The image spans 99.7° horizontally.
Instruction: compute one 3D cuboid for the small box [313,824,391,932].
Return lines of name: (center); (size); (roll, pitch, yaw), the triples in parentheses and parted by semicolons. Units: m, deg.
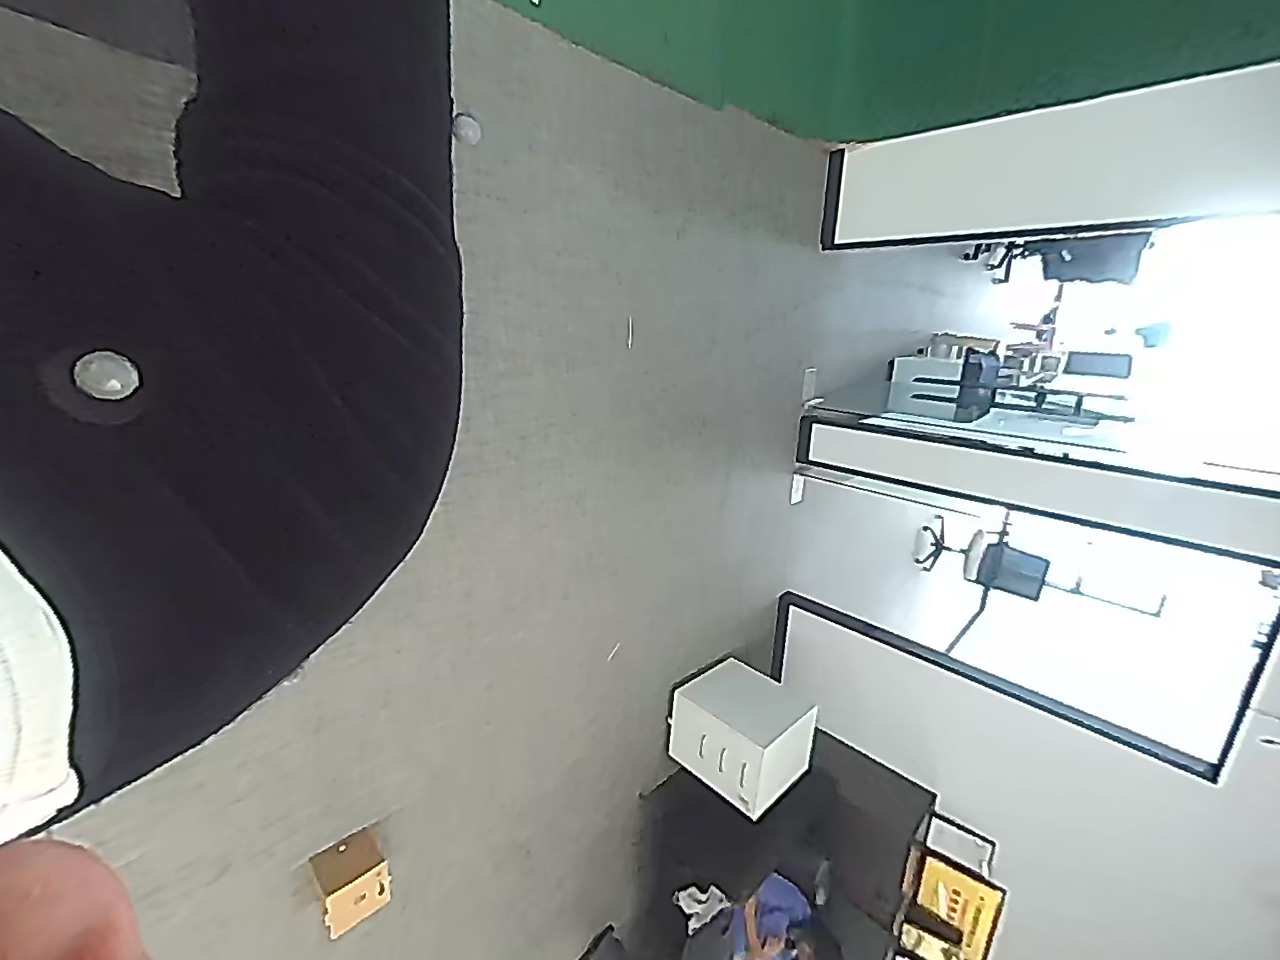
small box: (-0.909, 1.239, 1.696); (0.179, 0.176, 0.168); (-13, 113, -44)
